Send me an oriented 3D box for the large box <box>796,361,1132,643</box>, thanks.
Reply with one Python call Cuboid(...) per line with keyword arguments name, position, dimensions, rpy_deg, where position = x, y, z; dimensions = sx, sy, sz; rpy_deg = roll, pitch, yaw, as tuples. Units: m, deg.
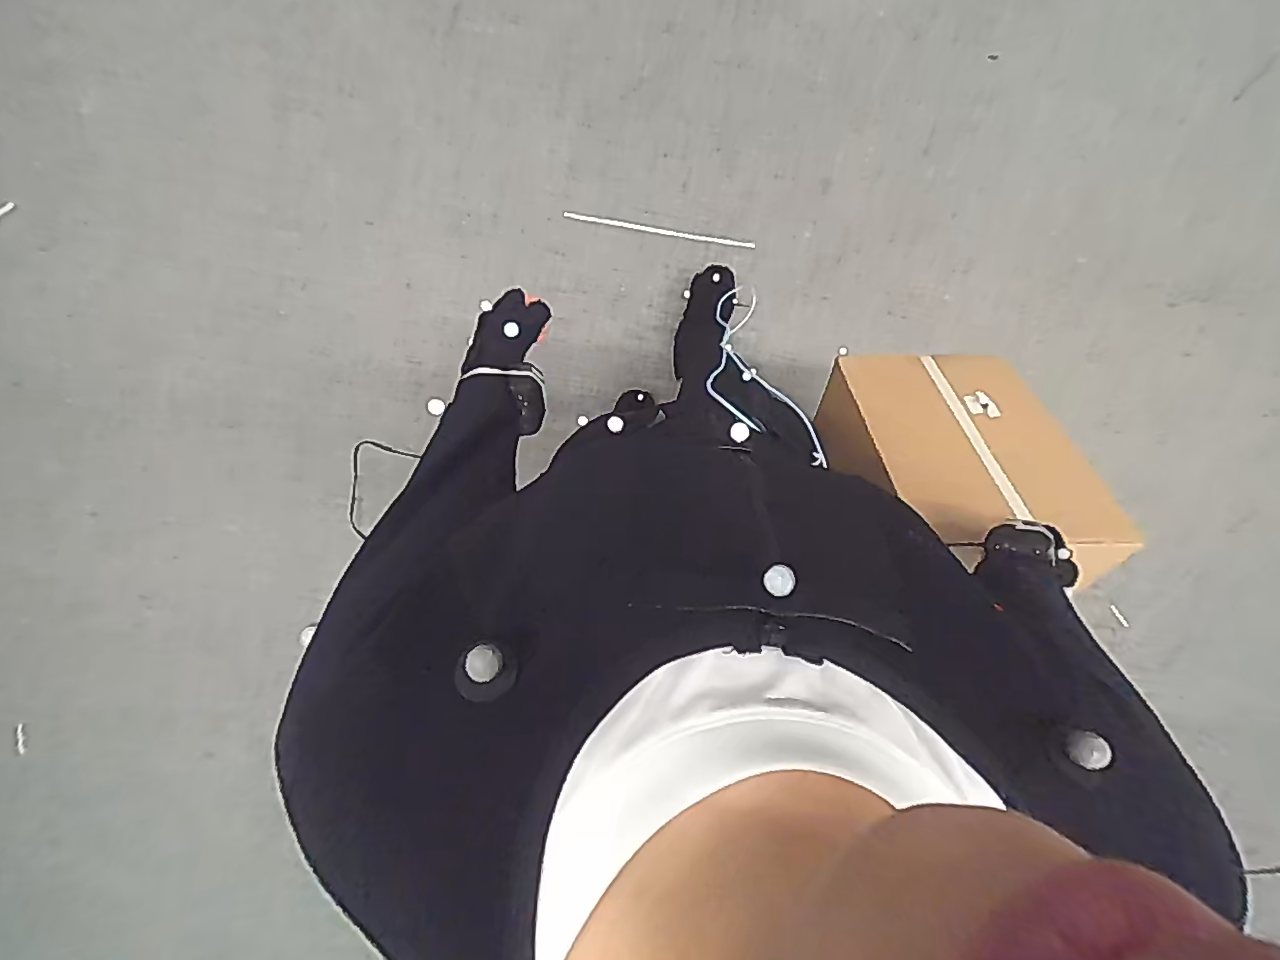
Cuboid(name="large box", position=(0.506, 0.036, 0.965), dimensions=(0.320, 0.408, 0.320), rpy_deg=(0, 138, -3))
